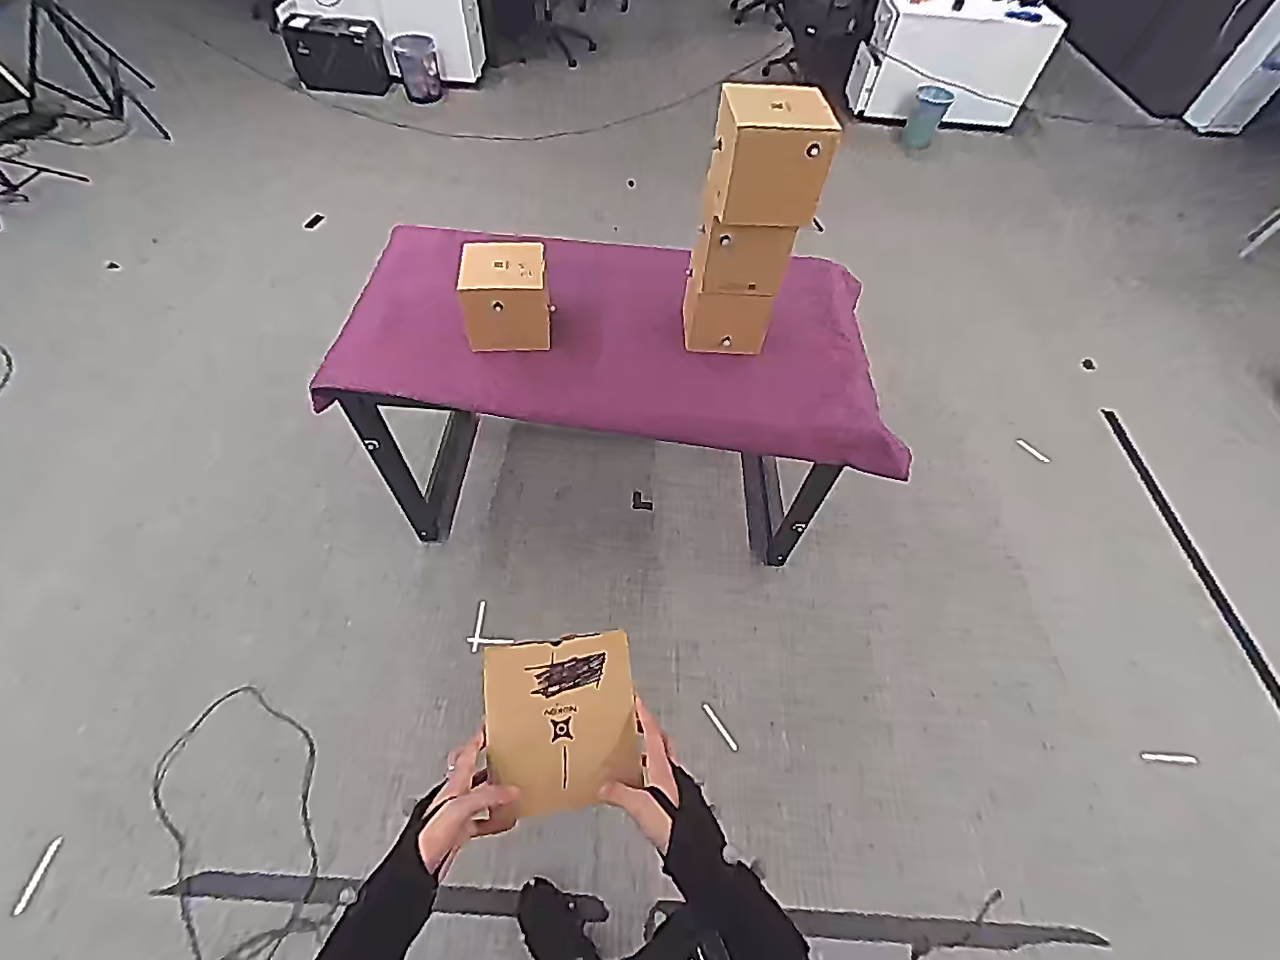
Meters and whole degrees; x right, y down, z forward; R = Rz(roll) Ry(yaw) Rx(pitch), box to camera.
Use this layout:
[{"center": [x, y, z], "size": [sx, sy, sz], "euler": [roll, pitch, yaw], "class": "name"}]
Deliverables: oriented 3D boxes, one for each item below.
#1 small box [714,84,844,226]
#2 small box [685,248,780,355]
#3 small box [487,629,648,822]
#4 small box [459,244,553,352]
[{"center": [0.233, -0.576, 0.965], "size": [0.179, 0.176, 0.168], "euler": [-1, 55, -5], "class": "small box"}, {"center": [0.204, -0.406, 1.245], "size": [0.179, 0.176, 0.168], "euler": [2, 55, -3], "class": "small box"}, {"center": [-0.088, 0.287, 0.656], "size": [0.168, 0.176, 0.179], "euler": [-6, 70, -6], "class": "small box"}, {"center": [-0.290, -0.402, 1.206], "size": [0.179, 0.176, 0.168], "euler": [-2, 55, -6], "class": "small box"}]
